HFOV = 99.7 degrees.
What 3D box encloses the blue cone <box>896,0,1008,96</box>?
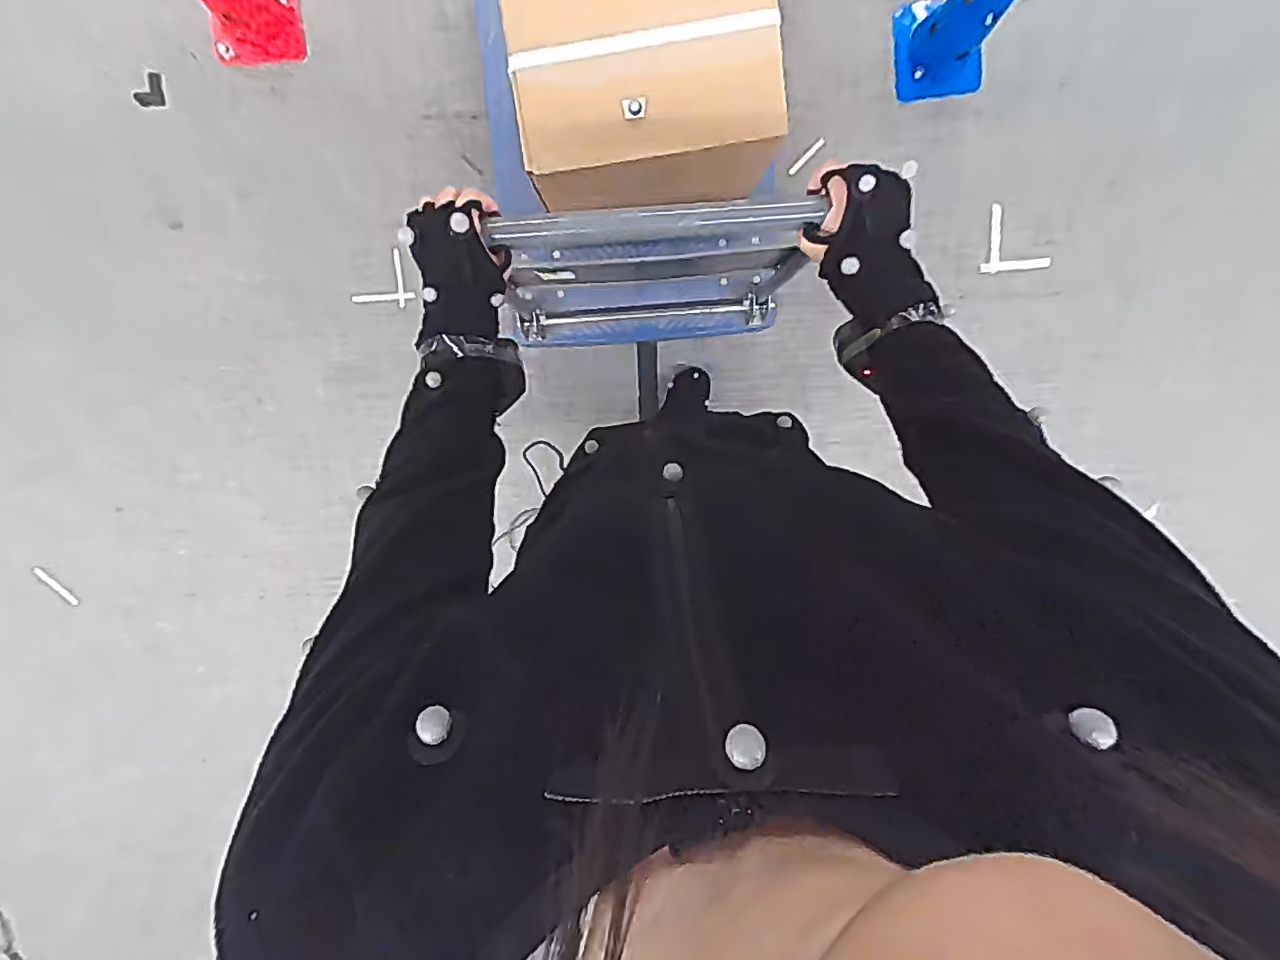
[{"bbox_3d":[0.691,-0.967,1.085,0.193,0.380,0.192,-6,100,0],"label":"blue cone"}]
